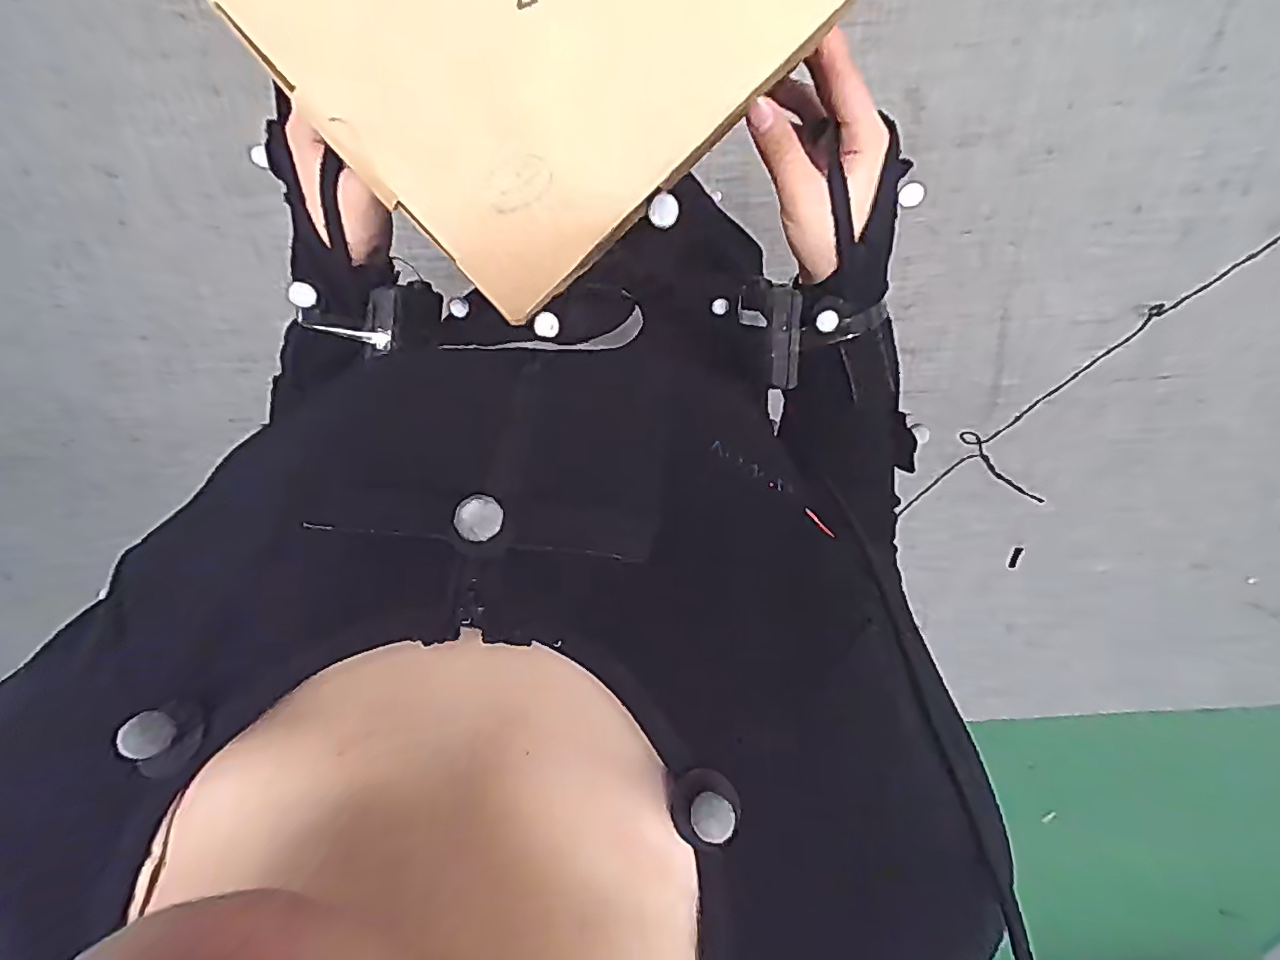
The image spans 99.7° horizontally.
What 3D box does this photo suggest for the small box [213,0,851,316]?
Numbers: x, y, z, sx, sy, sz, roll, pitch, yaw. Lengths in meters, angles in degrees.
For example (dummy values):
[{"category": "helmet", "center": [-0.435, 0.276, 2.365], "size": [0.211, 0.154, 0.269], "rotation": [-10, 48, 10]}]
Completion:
[{"category": "small box", "center": [-0.033, -0.203, 0.236], "size": [0.179, 0.176, 0.168], "rotation": [-37, 109, 20]}]
